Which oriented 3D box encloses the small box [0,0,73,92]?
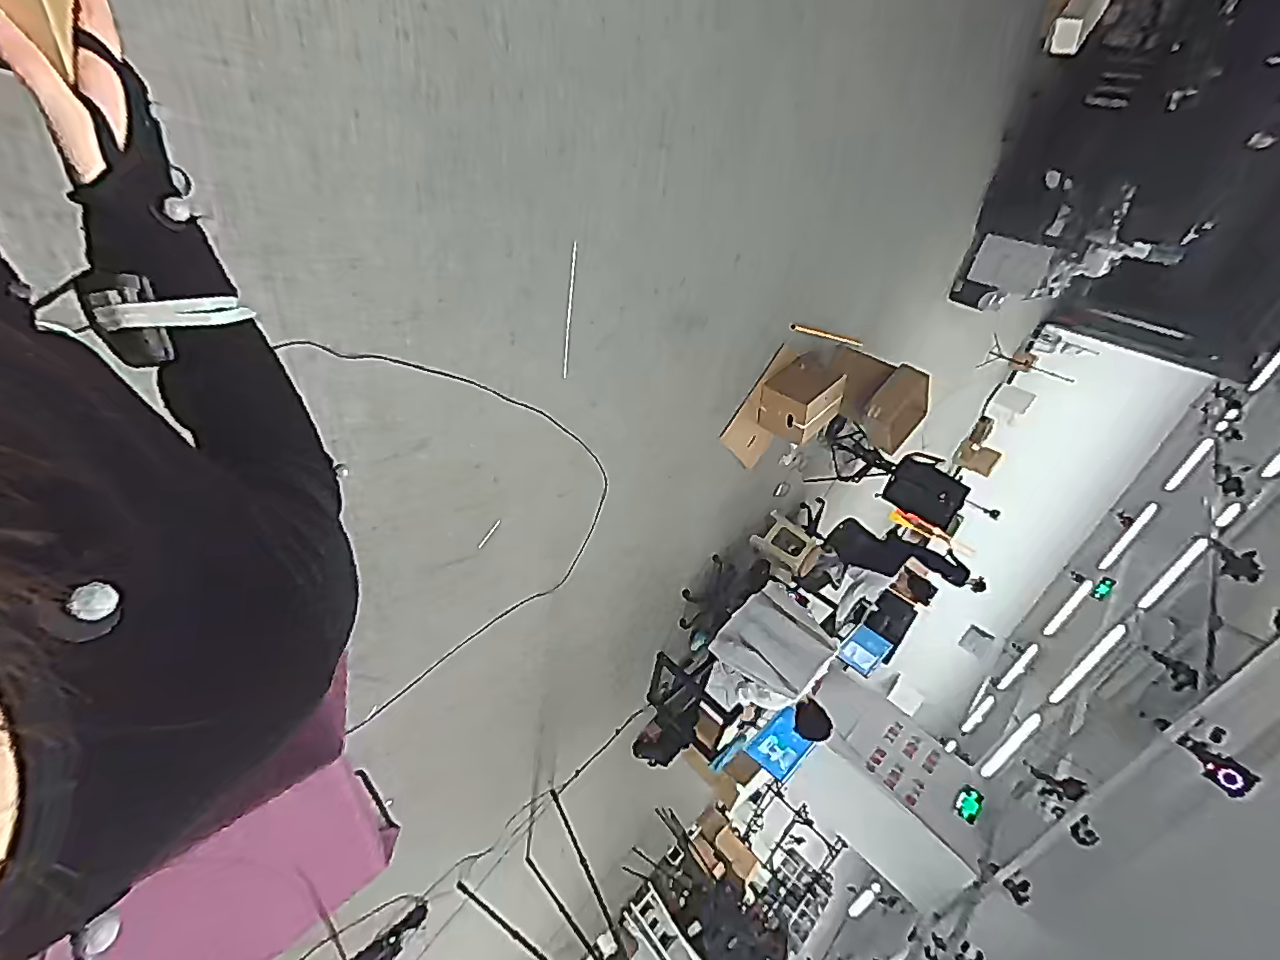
[{"bbox_3d":[-0.398,-0.343,0.249,0.179,0.176,0.168,-1,161,-34],"label":"small box"}]
